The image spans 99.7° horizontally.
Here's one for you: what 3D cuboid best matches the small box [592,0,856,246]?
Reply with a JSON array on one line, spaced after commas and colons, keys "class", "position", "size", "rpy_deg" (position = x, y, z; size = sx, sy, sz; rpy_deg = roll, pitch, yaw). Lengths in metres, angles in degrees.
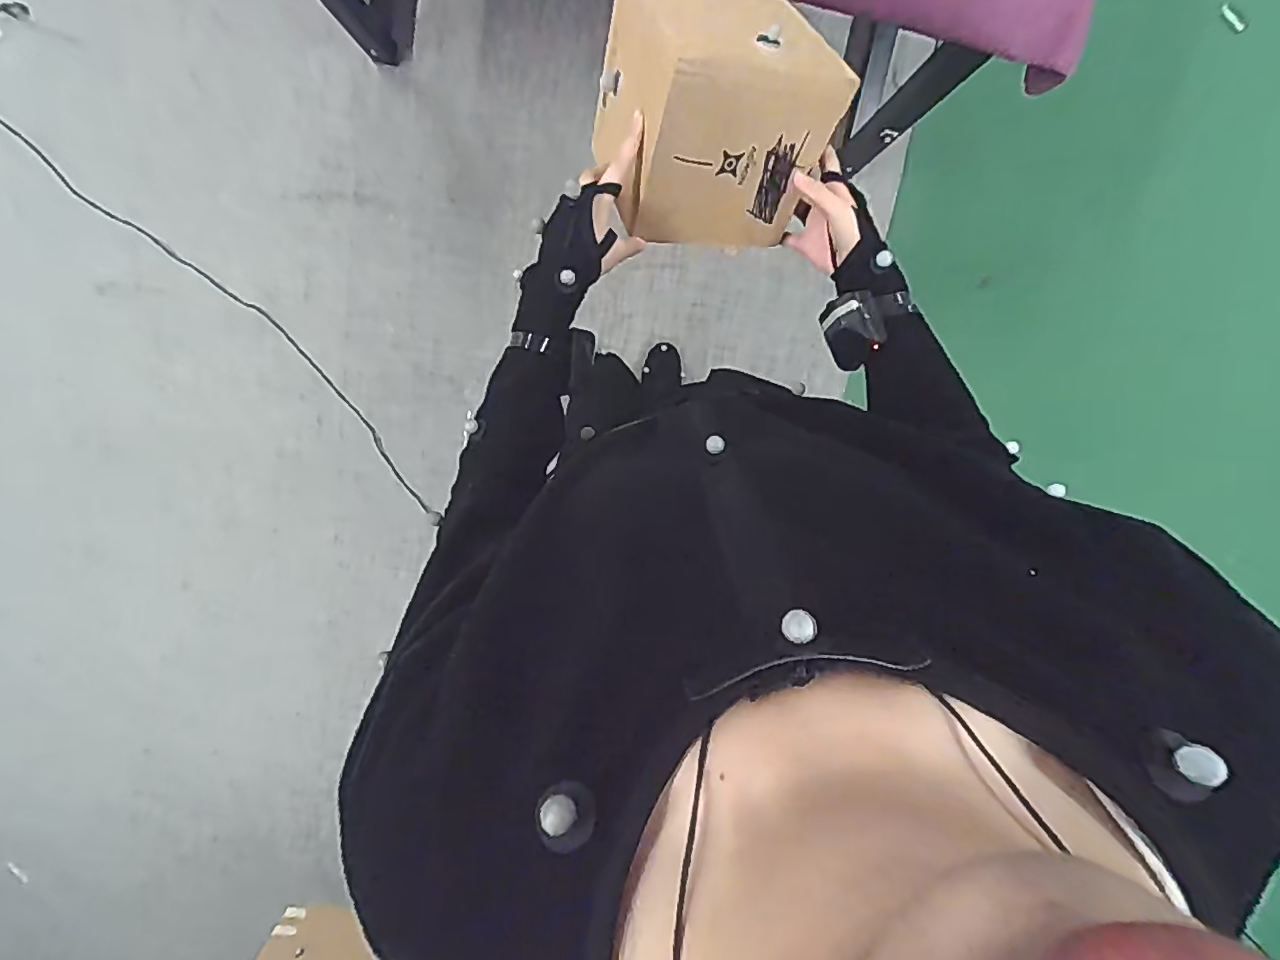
[{"class": "small box", "position": [0.065, -0.358, 0.532], "size": [0.179, 0.168, 0.176], "rpy_deg": [-6, 60, -19]}]
